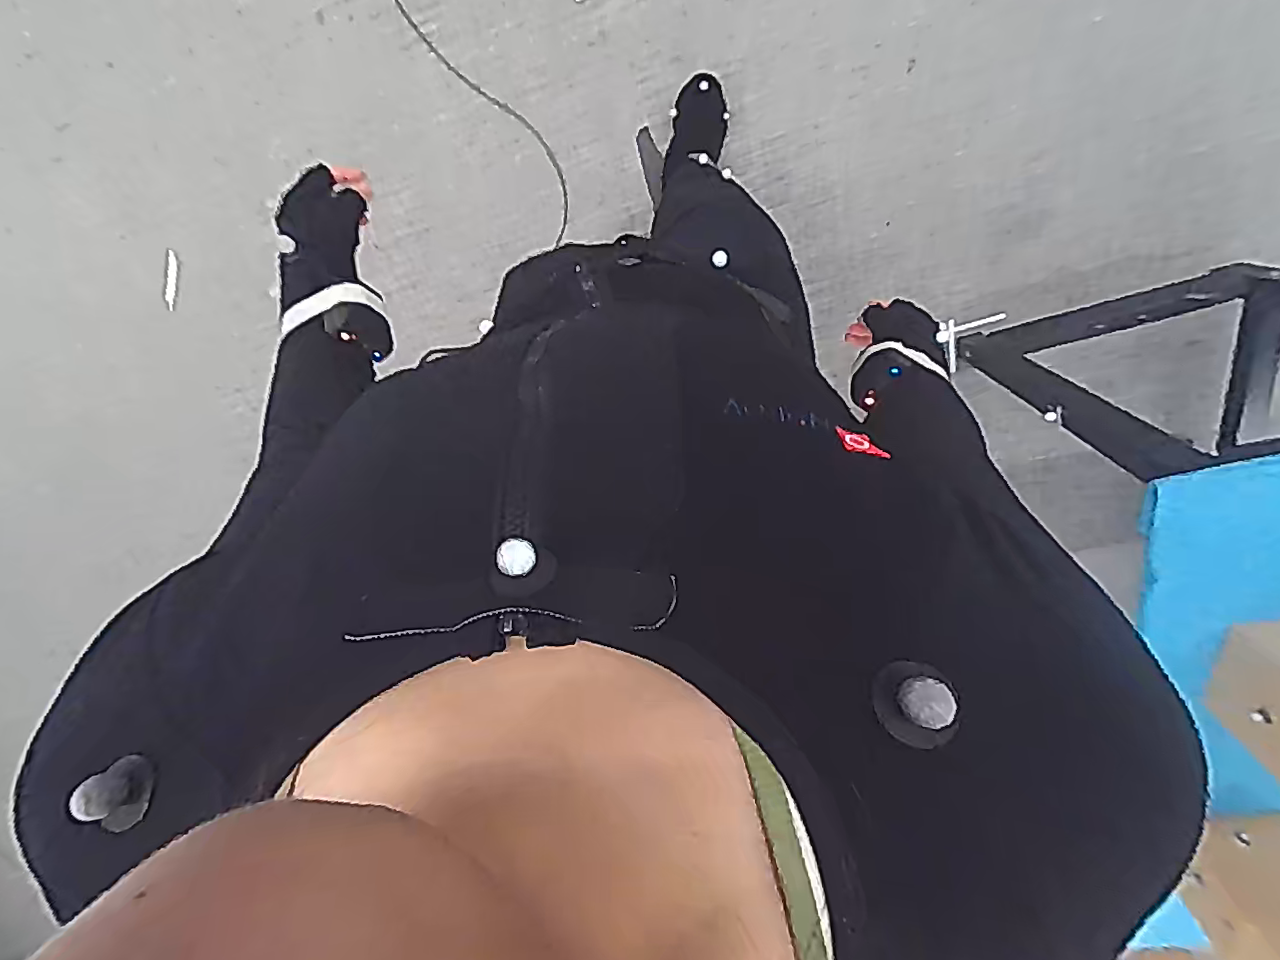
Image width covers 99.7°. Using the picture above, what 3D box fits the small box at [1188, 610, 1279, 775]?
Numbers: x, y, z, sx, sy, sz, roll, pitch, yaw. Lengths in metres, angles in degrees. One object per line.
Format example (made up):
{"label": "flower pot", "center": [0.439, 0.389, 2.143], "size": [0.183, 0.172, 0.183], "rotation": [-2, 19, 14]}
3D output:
{"label": "small box", "center": [0.930, 0.296, 0.738], "size": [0.179, 0.176, 0.168], "rotation": [-9, 119, 11]}
